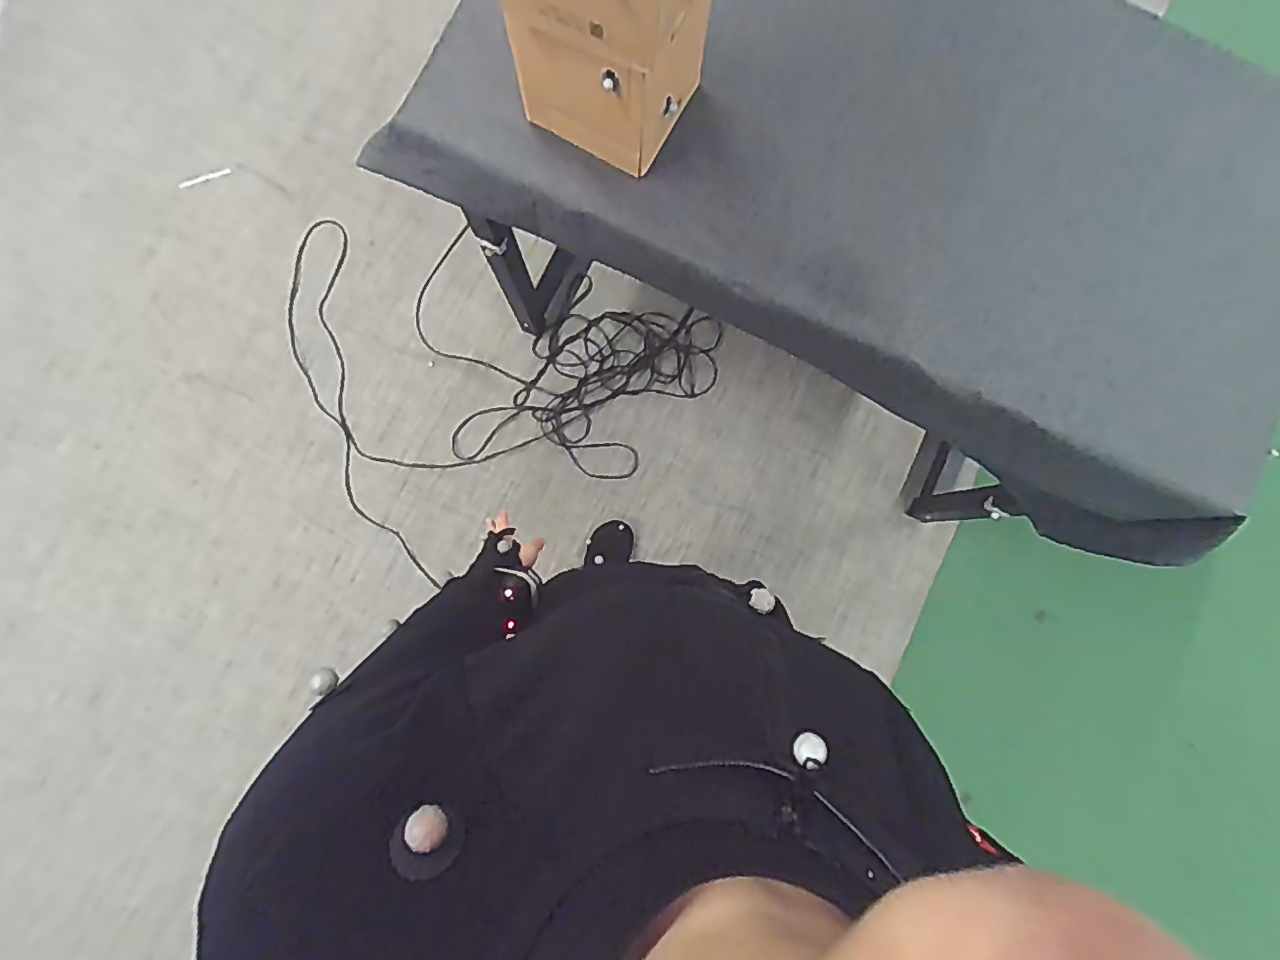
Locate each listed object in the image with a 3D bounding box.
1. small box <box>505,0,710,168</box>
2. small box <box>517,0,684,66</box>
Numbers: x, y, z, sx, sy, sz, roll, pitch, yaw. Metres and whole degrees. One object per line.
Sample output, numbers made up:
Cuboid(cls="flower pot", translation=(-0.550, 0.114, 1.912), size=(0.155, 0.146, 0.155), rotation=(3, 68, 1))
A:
Cuboid(cls="small box", translation=(-0.035, -0.515, 0.637), size=(0.179, 0.176, 0.168), rotation=(29, 83, 1))
Cuboid(cls="small box", translation=(-0.027, -0.525, 0.475), size=(0.168, 0.176, 0.179), rotation=(23, 82, -1))
